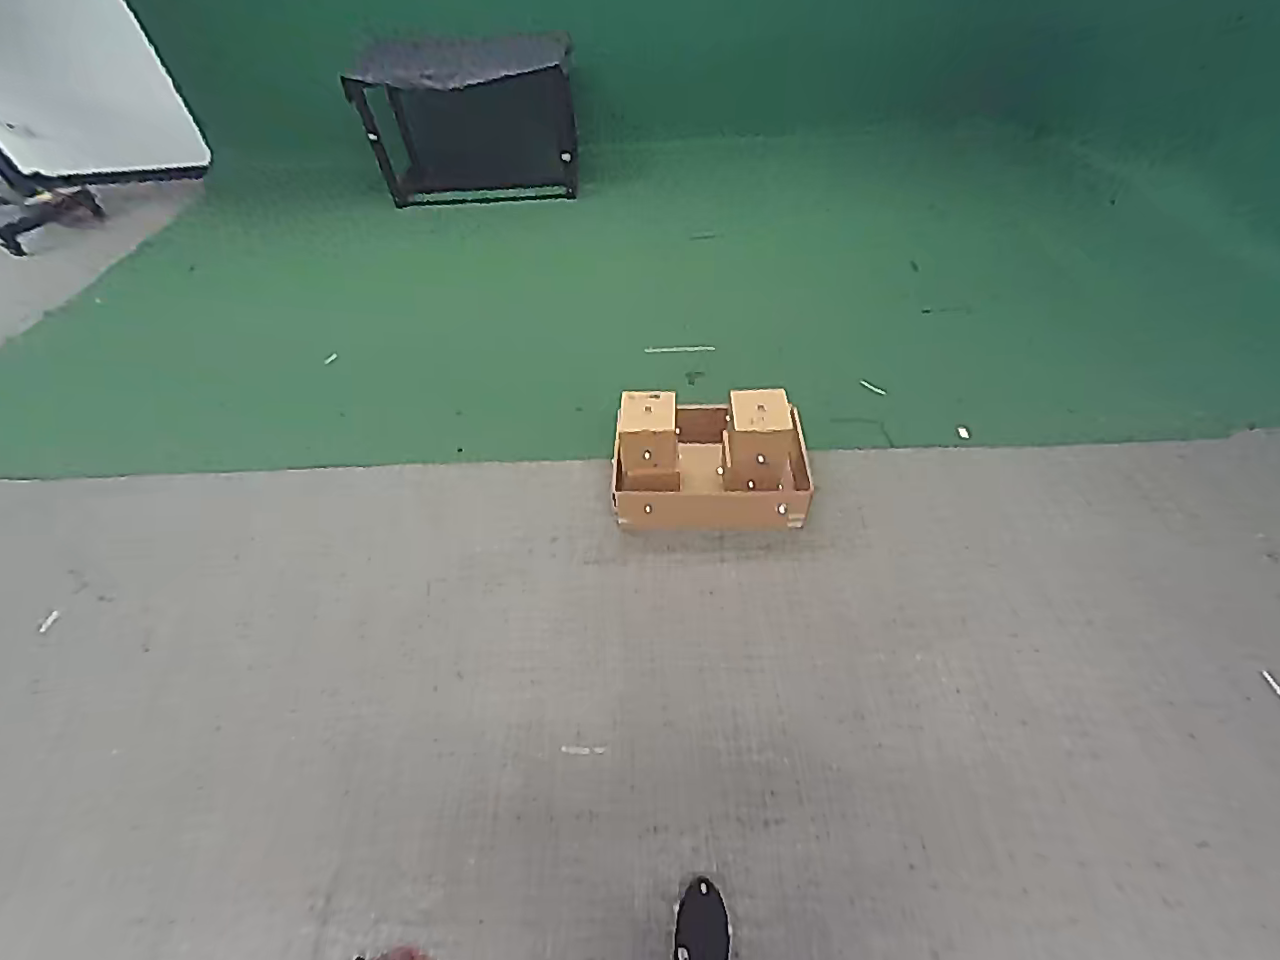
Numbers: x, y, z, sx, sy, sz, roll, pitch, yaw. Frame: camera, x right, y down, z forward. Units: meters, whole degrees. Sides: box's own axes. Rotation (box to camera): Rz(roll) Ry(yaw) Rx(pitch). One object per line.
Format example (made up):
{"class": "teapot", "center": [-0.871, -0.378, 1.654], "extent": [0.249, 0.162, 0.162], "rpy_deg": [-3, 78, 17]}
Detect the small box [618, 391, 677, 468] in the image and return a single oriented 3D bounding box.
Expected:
{"class": "small box", "center": [0.028, -0.150, 1.649], "extent": [0.168, 0.176, 0.179], "rpy_deg": [1, 51, 5]}

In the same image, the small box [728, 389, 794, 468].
{"class": "small box", "center": [0.359, -0.154, 1.629], "extent": [0.168, 0.176, 0.179], "rpy_deg": [-2, 51, 4]}
